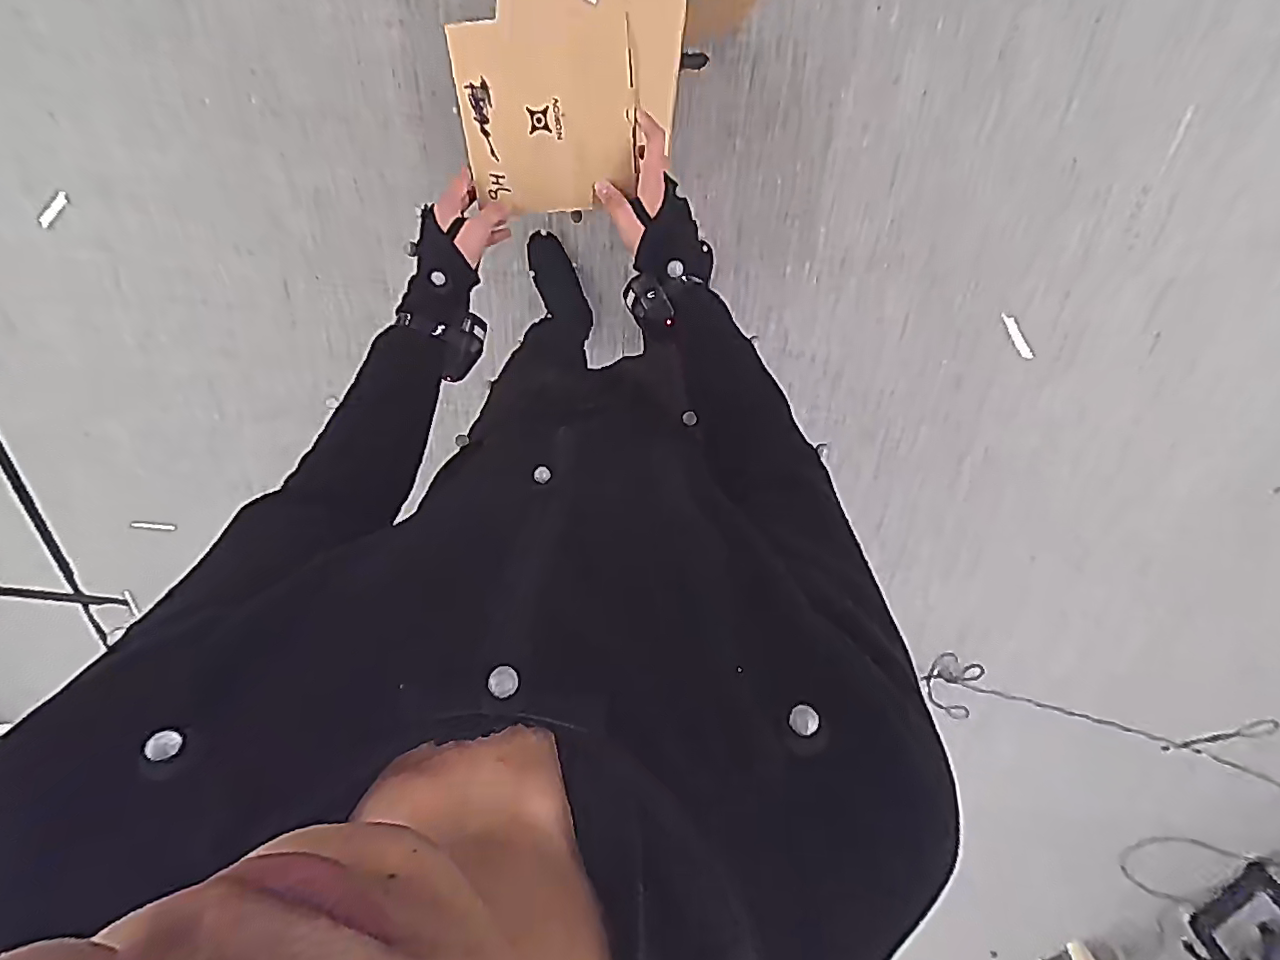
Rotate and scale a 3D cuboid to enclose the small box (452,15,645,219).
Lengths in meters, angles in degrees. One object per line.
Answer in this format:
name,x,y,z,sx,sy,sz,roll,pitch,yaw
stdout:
small box,-0.085,-0.394,0.607,0.179,0.176,0.168,-2,119,3
